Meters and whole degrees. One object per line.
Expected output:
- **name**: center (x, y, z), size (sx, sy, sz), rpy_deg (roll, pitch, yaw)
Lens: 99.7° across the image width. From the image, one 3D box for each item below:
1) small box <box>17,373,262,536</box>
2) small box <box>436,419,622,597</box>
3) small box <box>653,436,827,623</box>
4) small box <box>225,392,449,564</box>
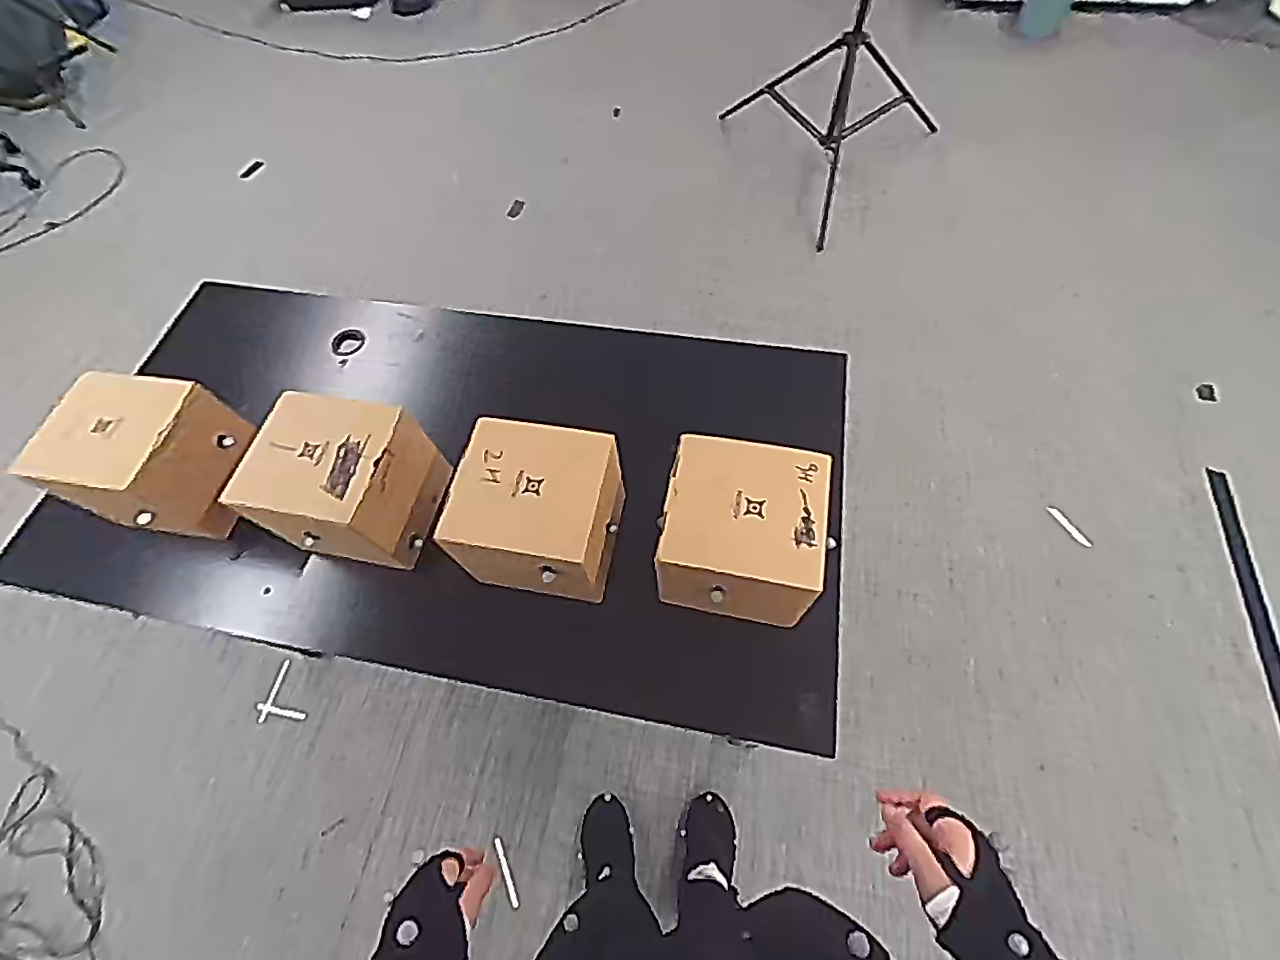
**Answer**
- **small box**: center (-0.681, -0.029, 0.774), size (0.179, 0.176, 0.168), rpy_deg (6, 63, 7)
- **small box**: center (-0.125, 0.044, 0.699), size (0.179, 0.176, 0.168), rpy_deg (8, 63, 8)
- **small box**: center (0.121, 0.068, 0.671), size (0.179, 0.176, 0.168), rpy_deg (9, 64, 10)
- **small box**: center (-0.390, 0.005, 0.737), size (0.179, 0.176, 0.168), rpy_deg (9, 64, 9)
